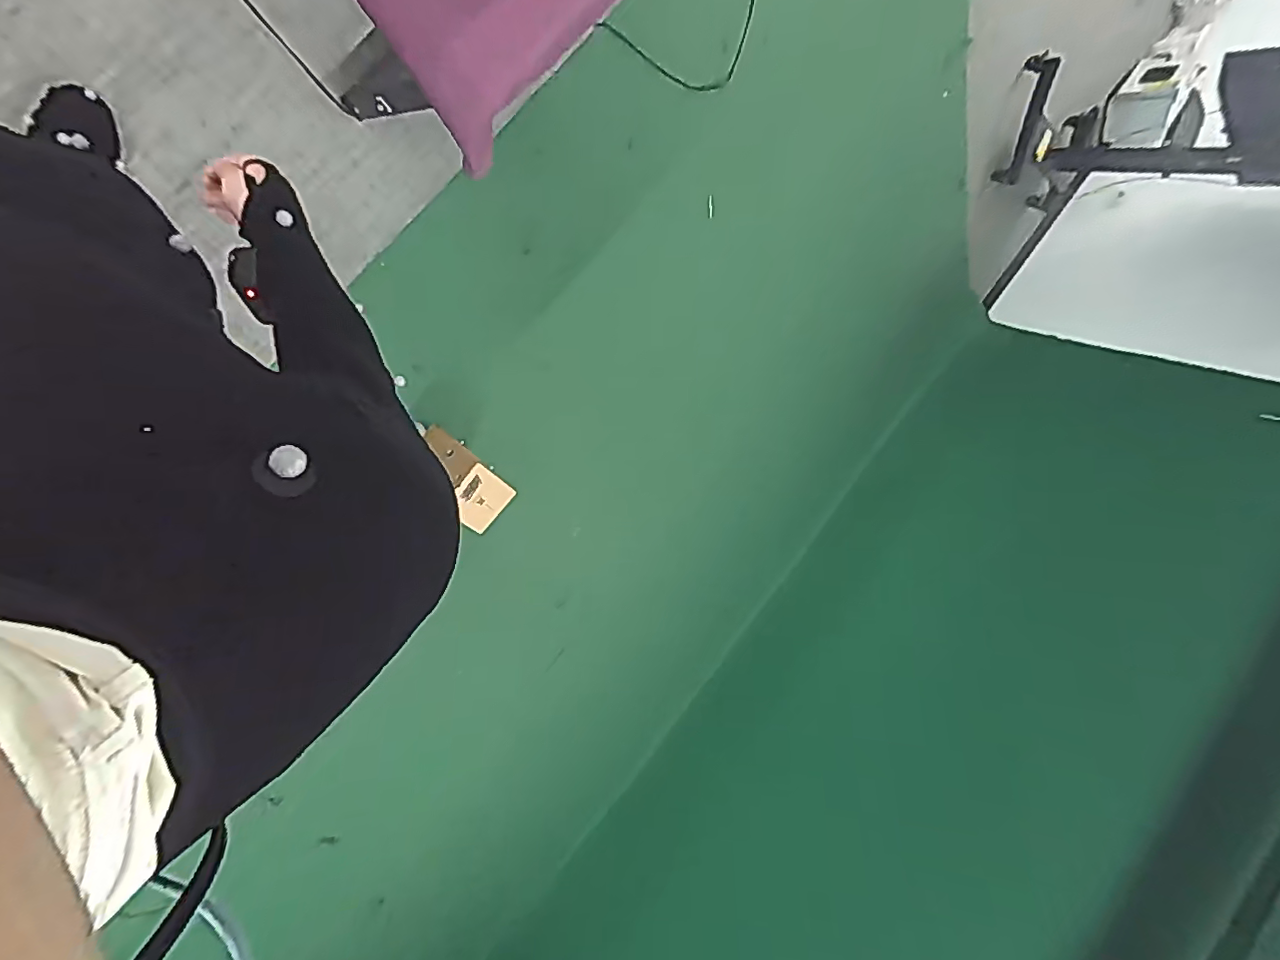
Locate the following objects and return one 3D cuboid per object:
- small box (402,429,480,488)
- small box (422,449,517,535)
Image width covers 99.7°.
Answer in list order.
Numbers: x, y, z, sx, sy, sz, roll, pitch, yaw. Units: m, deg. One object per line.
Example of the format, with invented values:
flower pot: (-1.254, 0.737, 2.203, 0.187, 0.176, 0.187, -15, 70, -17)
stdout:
small box: (-0.613, -0.036, 1.715, 0.168, 0.176, 0.179, -51, 138, -8)
small box: (-0.509, 0.029, 1.606, 0.168, 0.176, 0.179, -51, 139, -7)
